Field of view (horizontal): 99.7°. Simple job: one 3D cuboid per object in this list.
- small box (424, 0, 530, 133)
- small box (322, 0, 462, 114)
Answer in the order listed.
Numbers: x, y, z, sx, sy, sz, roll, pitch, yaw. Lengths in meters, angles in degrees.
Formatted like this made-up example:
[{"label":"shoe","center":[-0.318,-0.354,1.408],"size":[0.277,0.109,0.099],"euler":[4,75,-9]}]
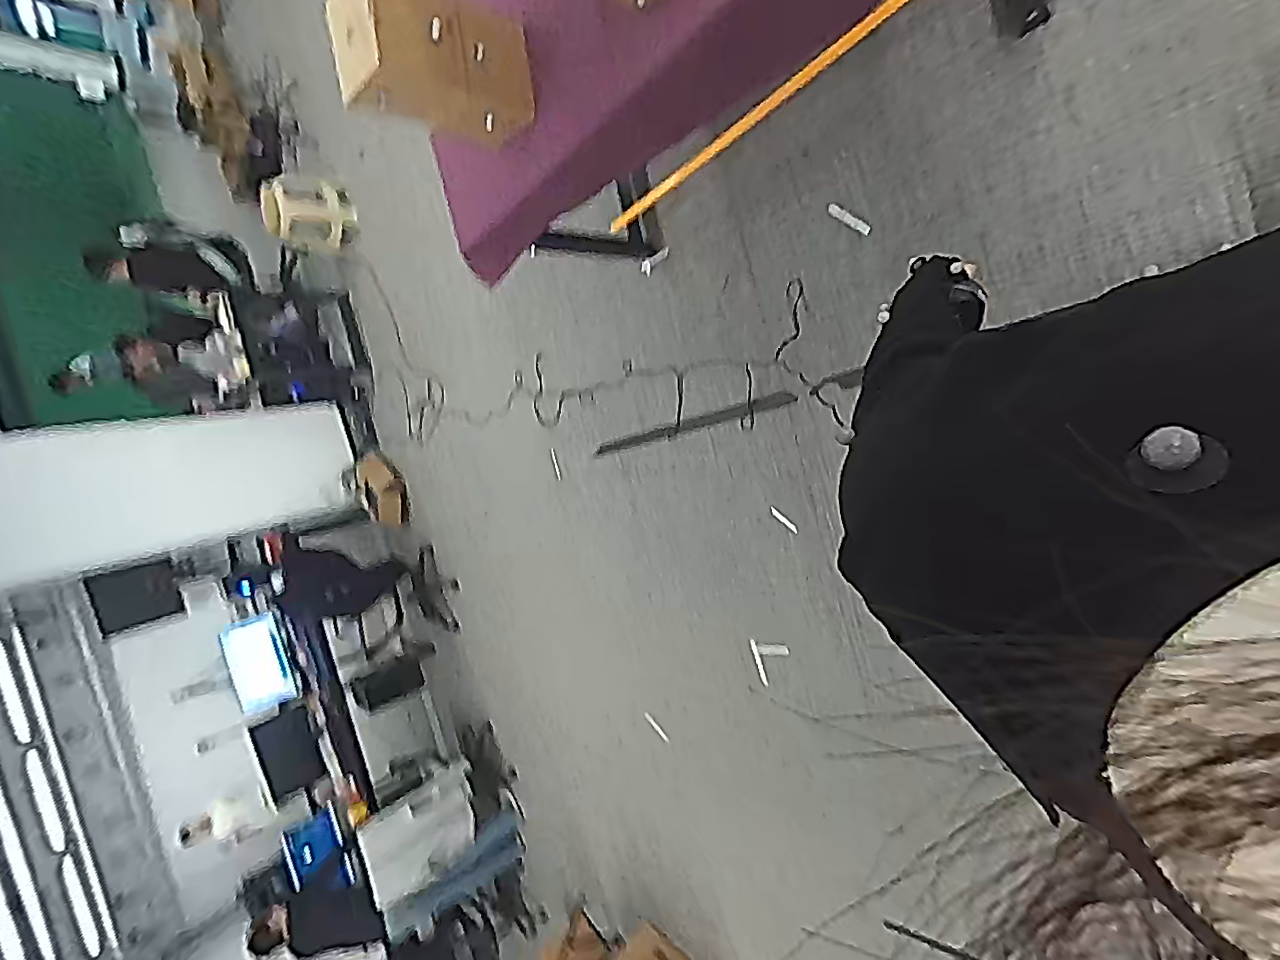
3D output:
[{"label":"small box","center":[-0.344,-0.845,1.114],"size":[0.168,0.176,0.179],"euler":[5,106,43]},{"label":"small box","center":[-0.453,-0.810,0.996],"size":[0.179,0.176,0.168],"euler":[6,108,43]}]
